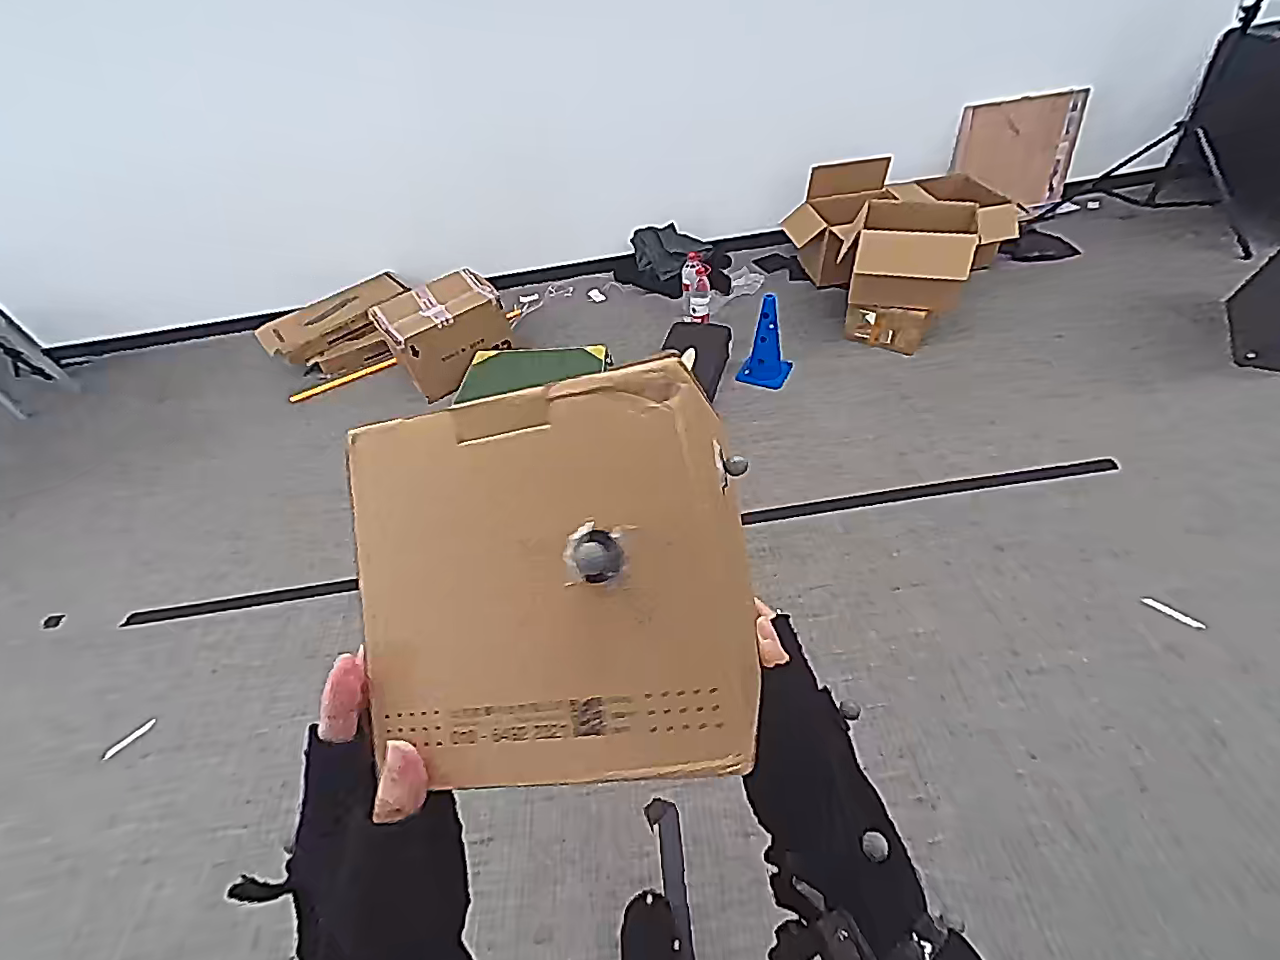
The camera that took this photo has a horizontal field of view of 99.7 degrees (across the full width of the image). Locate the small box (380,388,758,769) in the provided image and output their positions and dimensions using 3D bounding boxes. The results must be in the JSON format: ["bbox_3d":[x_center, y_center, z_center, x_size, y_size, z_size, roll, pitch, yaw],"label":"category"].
[{"bbox_3d":[-0.024,0.061,0.331,0.168,0.179,0.176,-10,82,12],"label":"small box"}]
